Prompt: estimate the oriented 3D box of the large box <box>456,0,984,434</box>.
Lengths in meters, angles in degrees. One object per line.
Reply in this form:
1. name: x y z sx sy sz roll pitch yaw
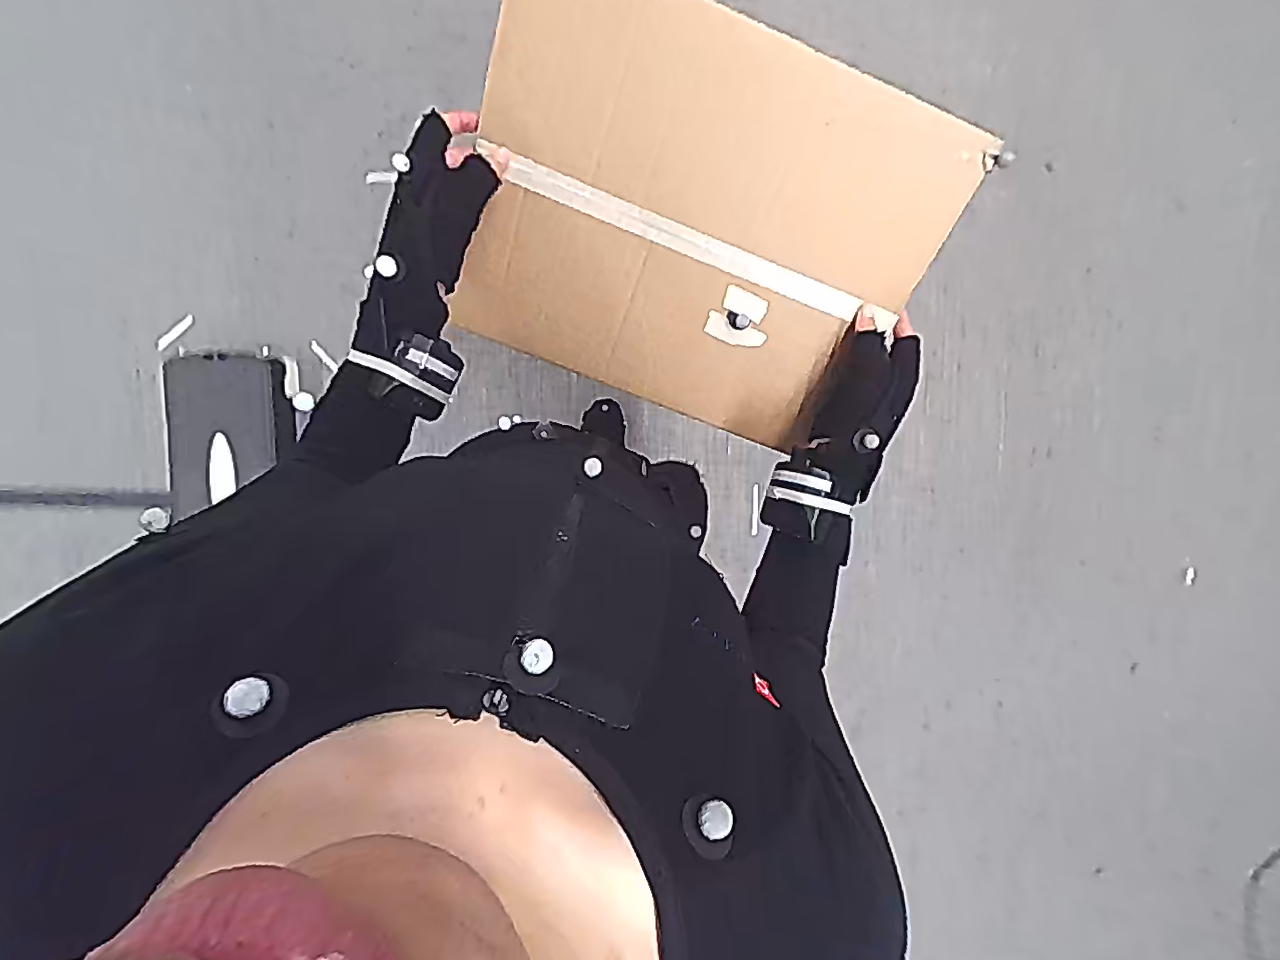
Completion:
1. large box: 0.054 -0.303 0.620 0.408 0.320 0.320 18 120 -7
